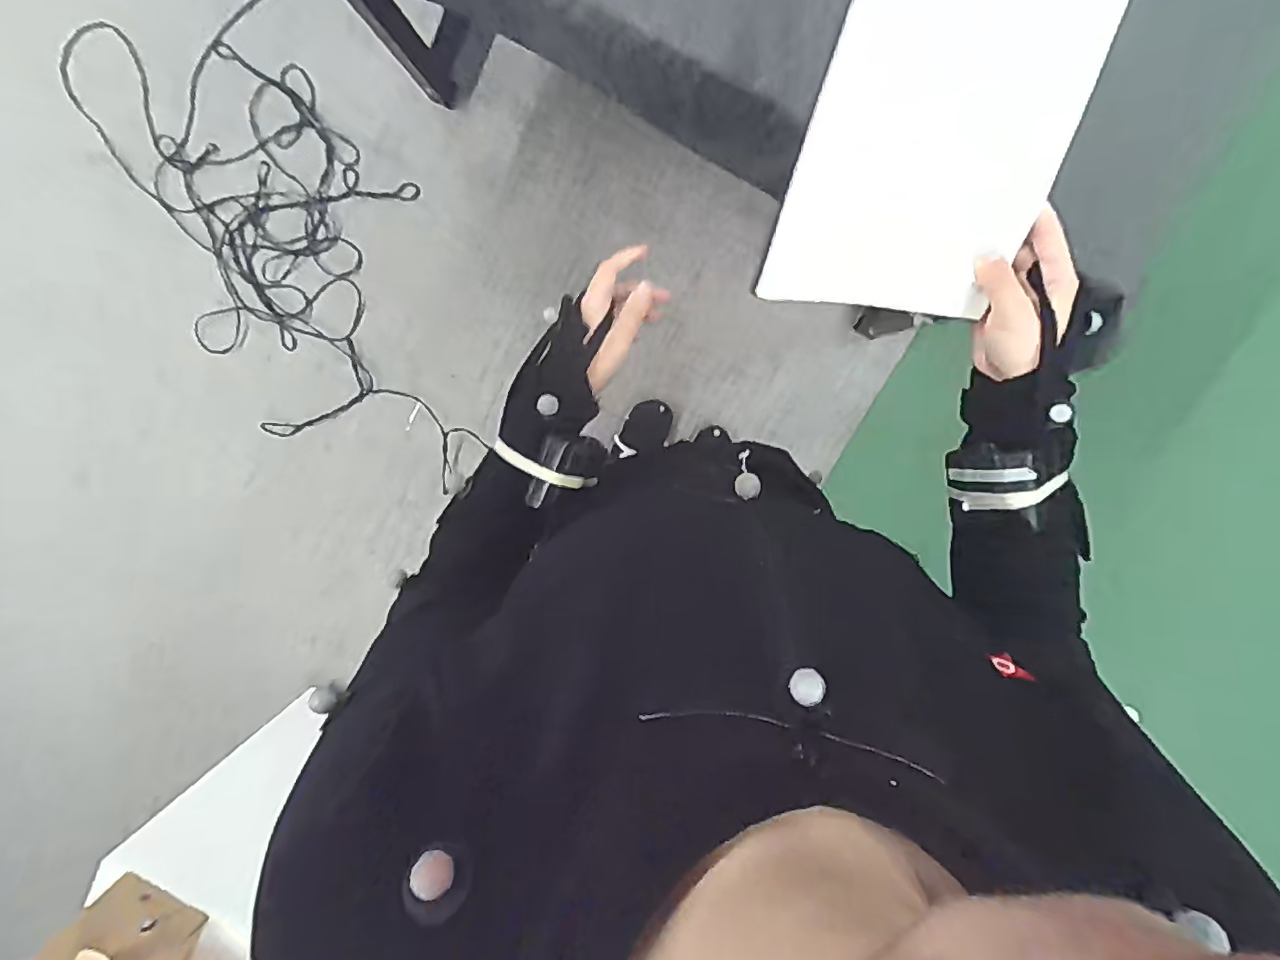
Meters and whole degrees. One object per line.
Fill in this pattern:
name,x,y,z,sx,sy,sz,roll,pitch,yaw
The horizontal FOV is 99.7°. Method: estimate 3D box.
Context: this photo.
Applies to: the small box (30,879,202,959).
small box,-0.864,0.808,0.869,0.168,0.176,0.179,30,100,-1
